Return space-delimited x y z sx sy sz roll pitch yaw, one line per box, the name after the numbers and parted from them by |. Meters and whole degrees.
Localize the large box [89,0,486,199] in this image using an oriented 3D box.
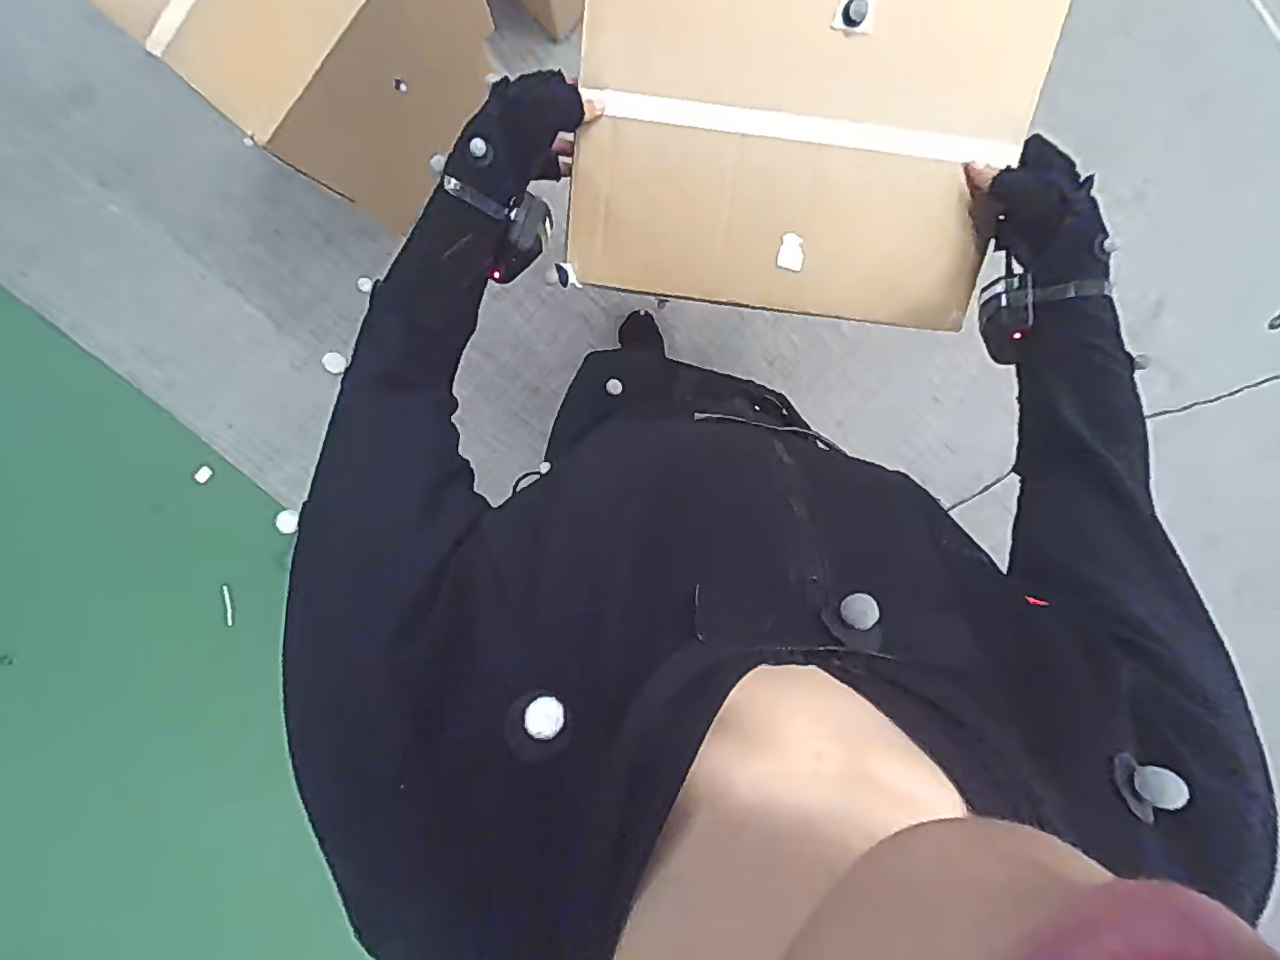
-0.499 -0.726 0.816 0.320 0.320 0.408 41 99 -12 | large box
